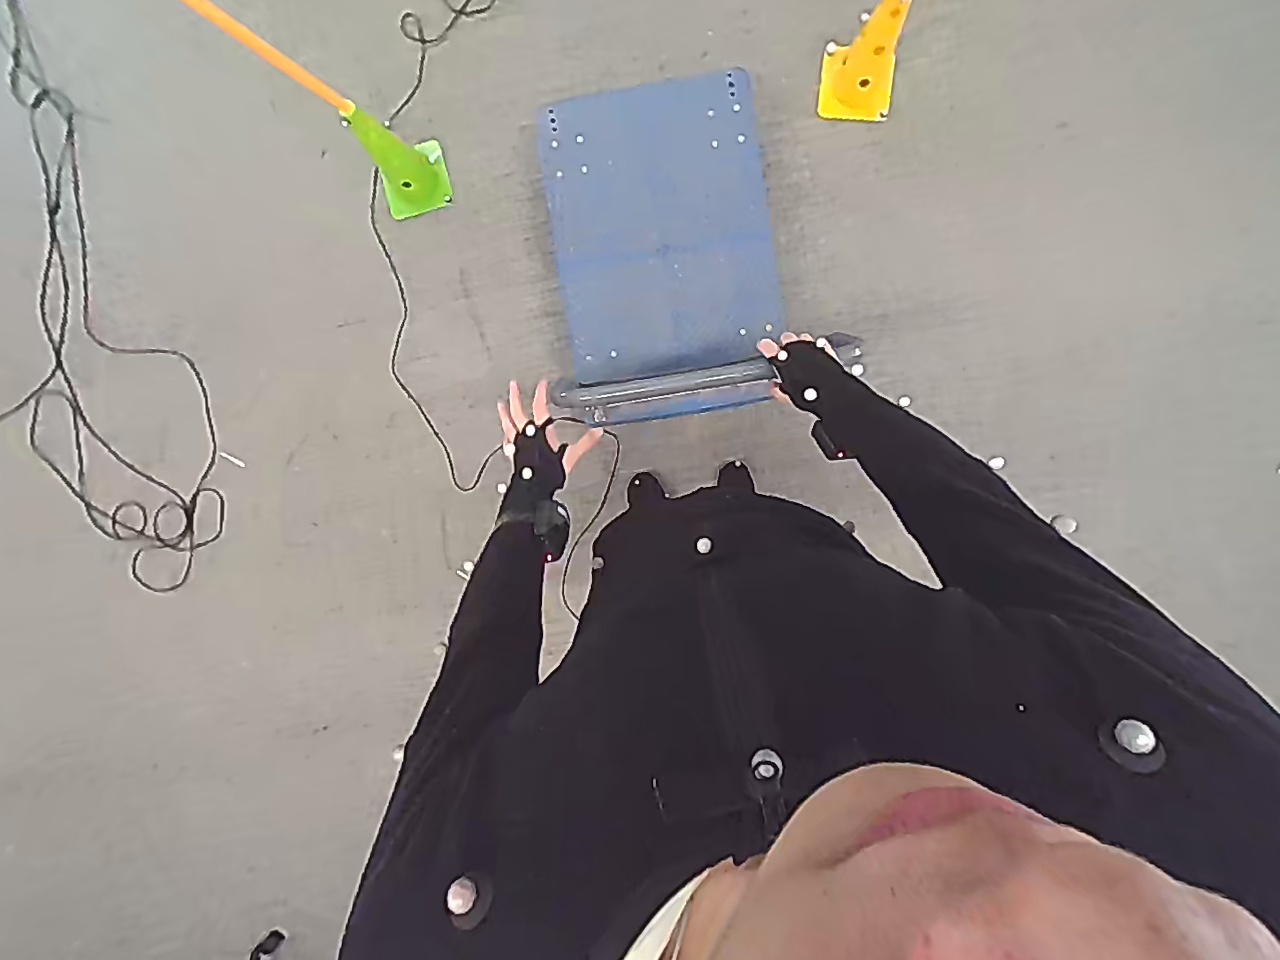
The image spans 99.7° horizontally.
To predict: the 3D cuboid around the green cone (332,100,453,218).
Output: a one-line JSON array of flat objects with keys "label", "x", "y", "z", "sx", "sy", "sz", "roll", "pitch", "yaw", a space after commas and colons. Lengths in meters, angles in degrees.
[{"label": "green cone", "x": -0.700, "y": -0.911, "z": 1.477, "sx": 0.202, "sy": 0.368, "sz": 0.200, "roll": -15, "pitch": 91, "yaw": 6}]
